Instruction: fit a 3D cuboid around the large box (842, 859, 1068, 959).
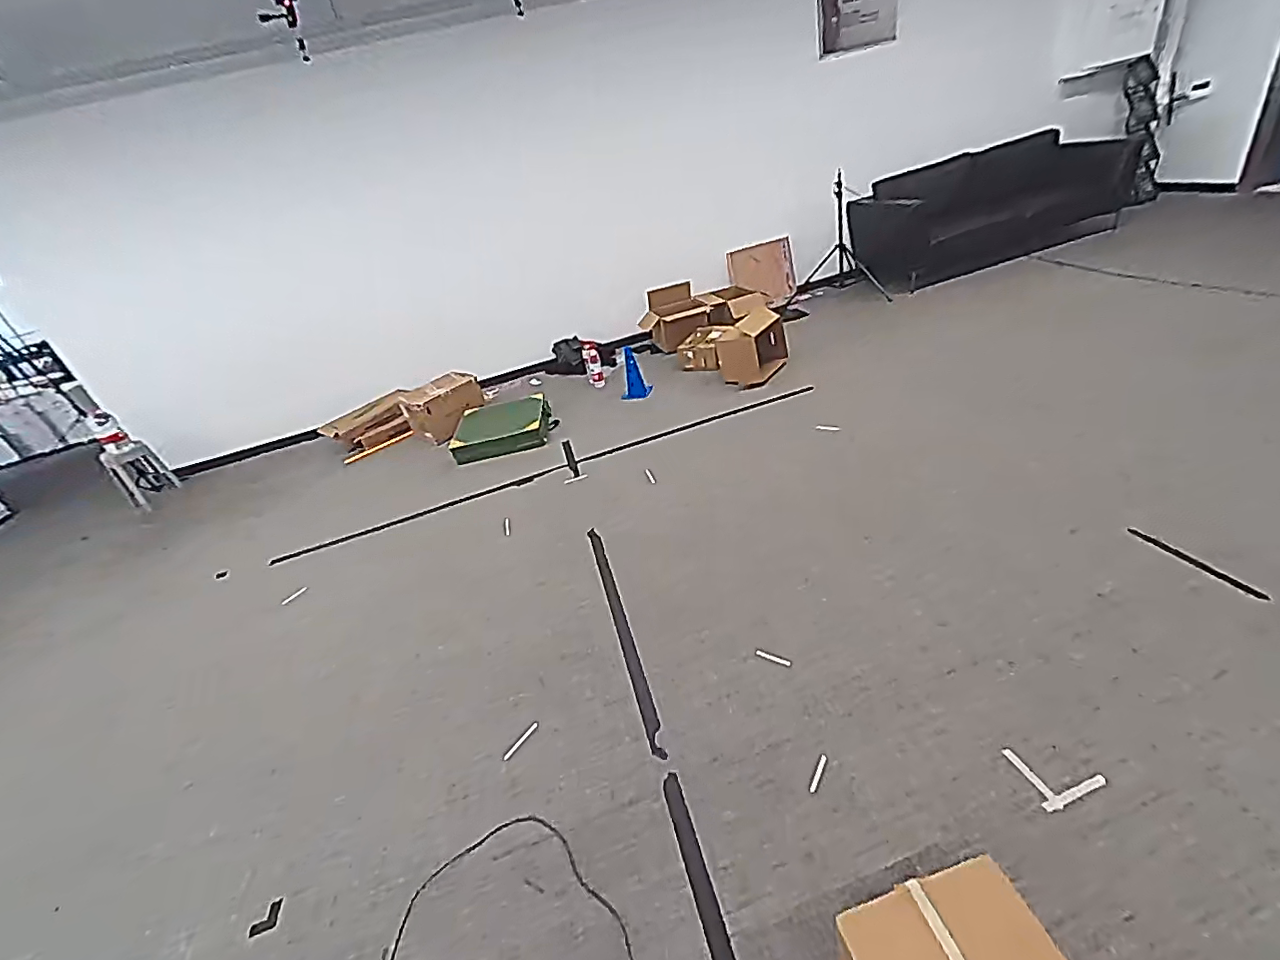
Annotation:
[{"bbox_3d":[0.576,0.950,0.882,0.320,0.320,0.408,-18,32,-5],"label":"large box"}]
